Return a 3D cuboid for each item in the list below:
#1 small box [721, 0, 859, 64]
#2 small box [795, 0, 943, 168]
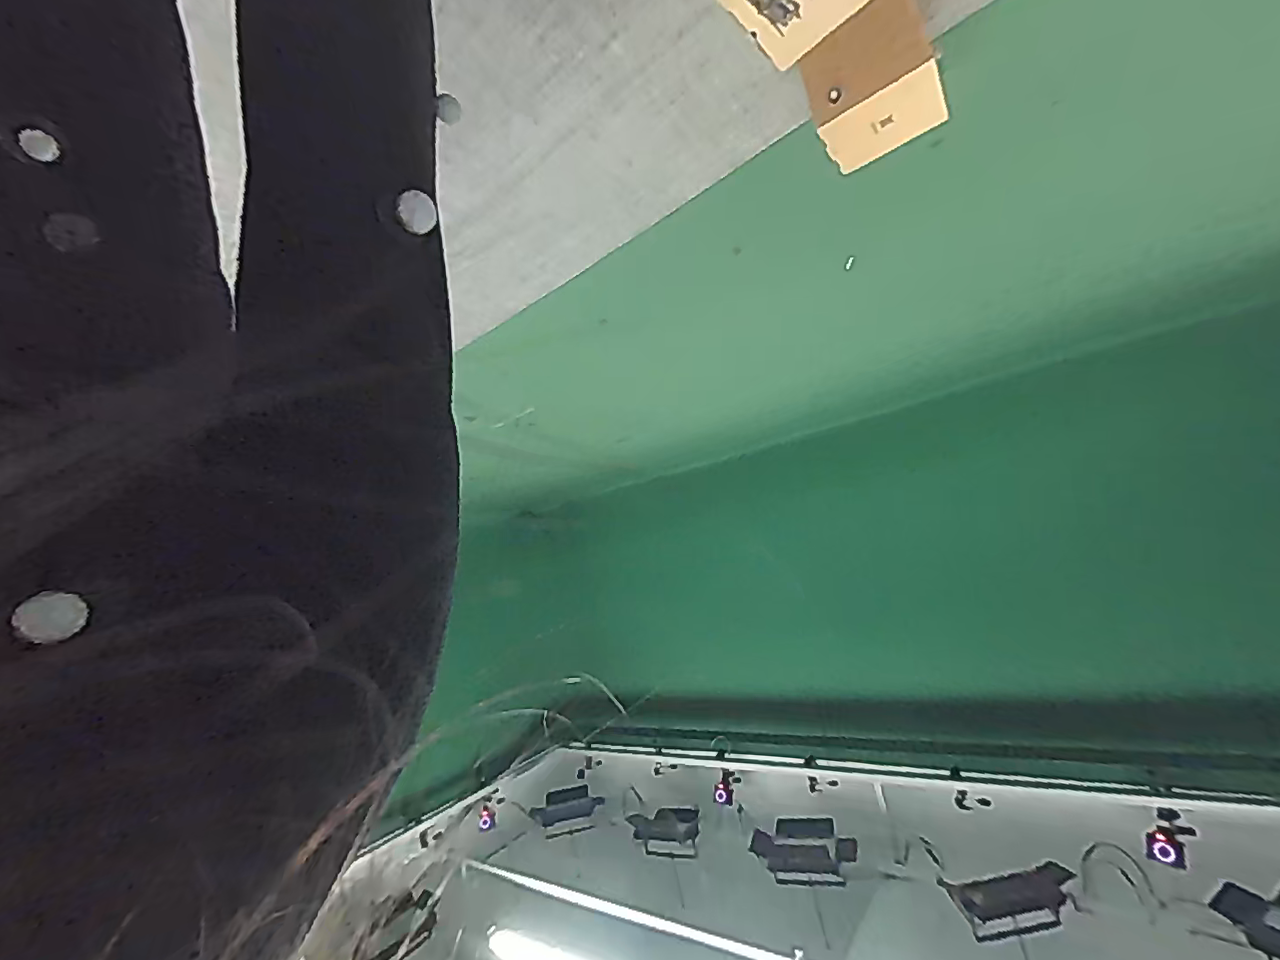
[{"bbox_3d":[0.180,-0.665,0.635,0.179,0.176,0.168,-19,170,40],"label":"small box"},{"bbox_3d":[0.375,-0.673,0.894,0.179,0.176,0.168,-16,171,35],"label":"small box"}]
